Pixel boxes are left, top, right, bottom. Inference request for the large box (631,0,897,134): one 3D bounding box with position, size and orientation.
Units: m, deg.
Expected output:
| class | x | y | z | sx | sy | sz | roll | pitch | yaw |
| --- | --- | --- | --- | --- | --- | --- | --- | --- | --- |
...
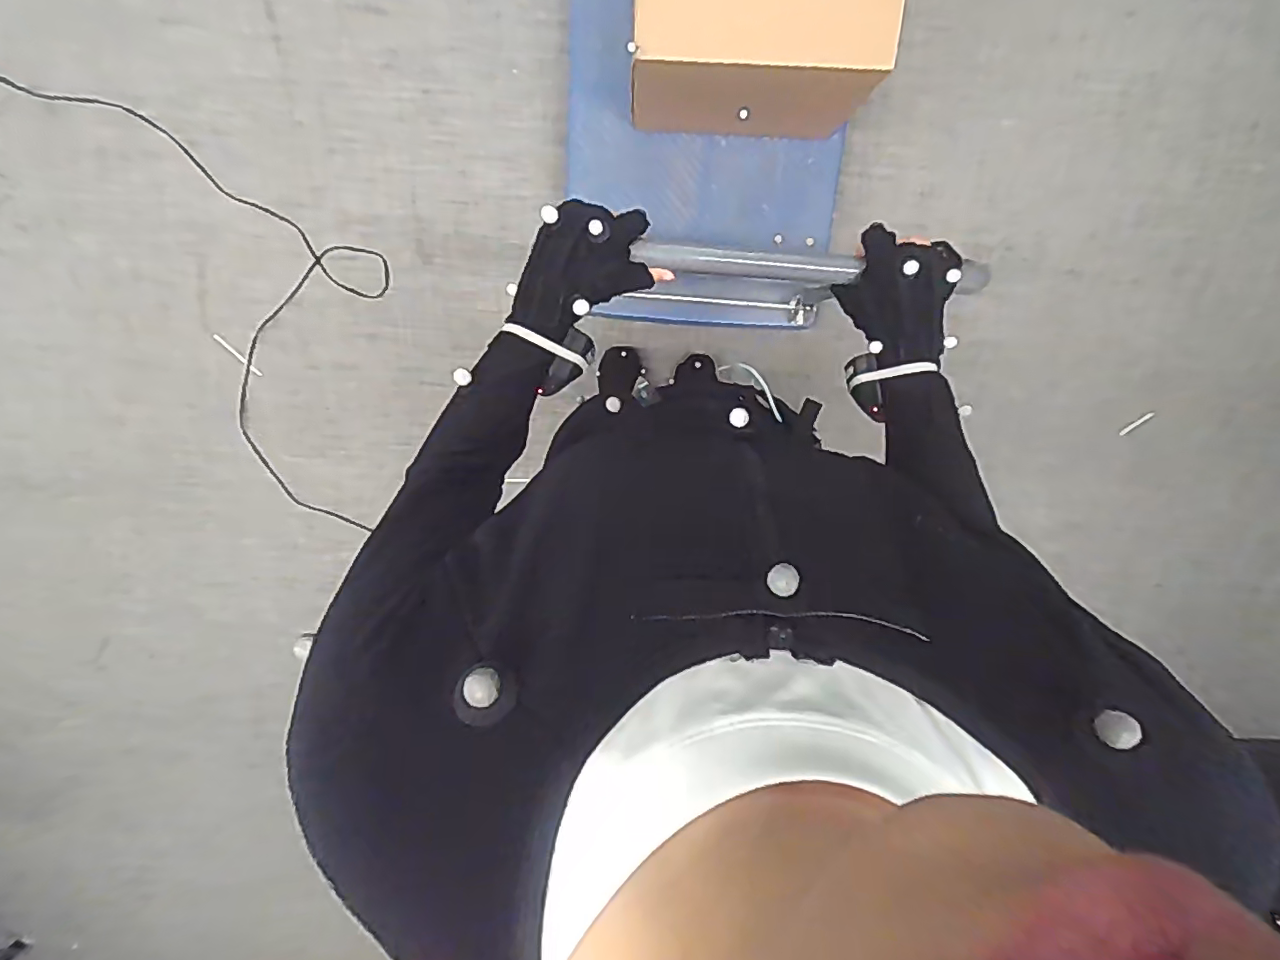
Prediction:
| class | x | y | z | sx | sy | sz | roll | pitch | yaw |
| --- | --- | --- | --- | --- | --- | --- | --- | --- | --- |
| large box | 0.191 | -0.823 | 0.935 | 0.408 | 0.320 | 0.320 | 2 | 105 | 0 |
